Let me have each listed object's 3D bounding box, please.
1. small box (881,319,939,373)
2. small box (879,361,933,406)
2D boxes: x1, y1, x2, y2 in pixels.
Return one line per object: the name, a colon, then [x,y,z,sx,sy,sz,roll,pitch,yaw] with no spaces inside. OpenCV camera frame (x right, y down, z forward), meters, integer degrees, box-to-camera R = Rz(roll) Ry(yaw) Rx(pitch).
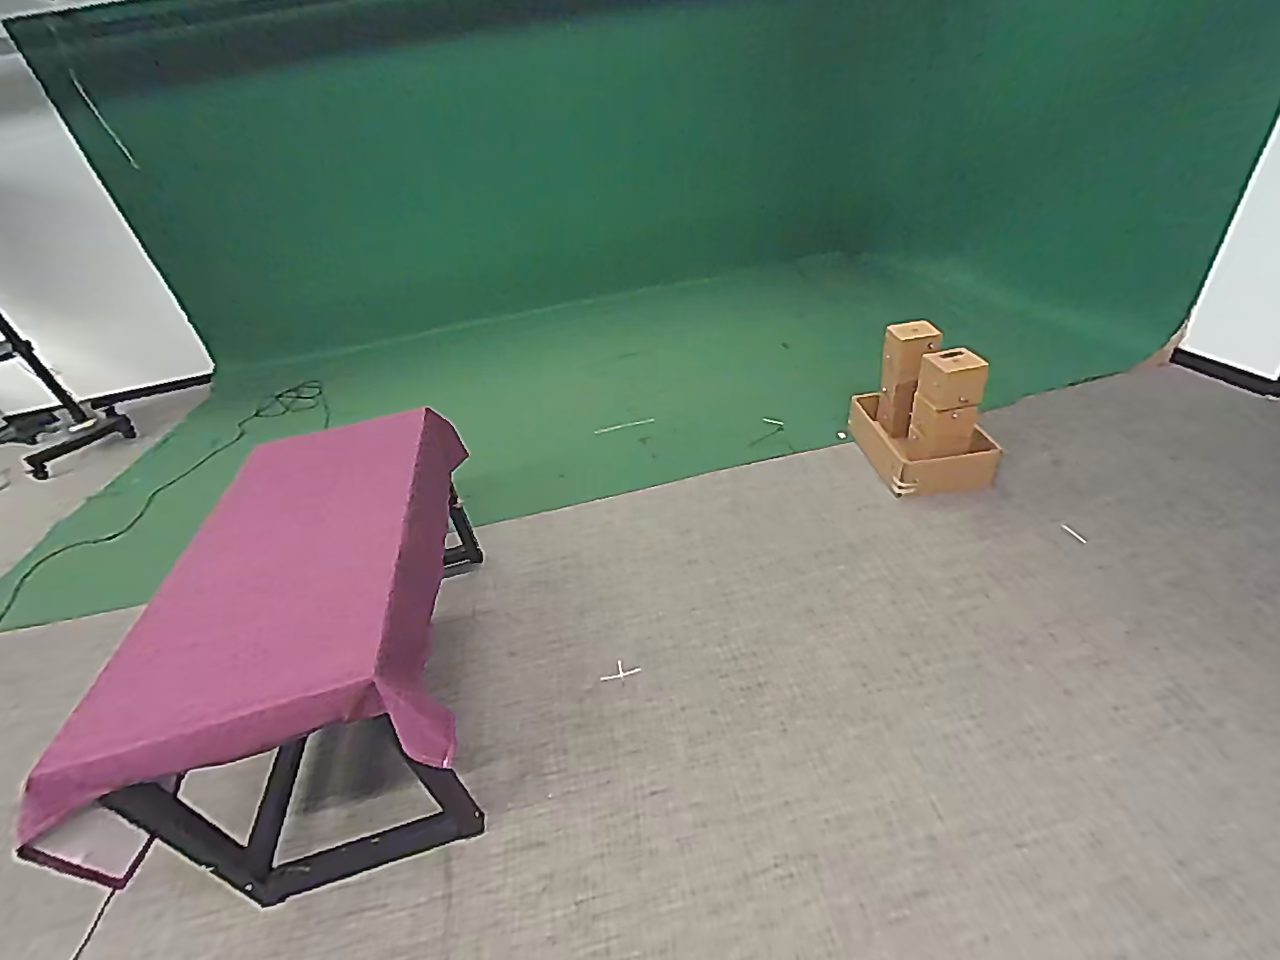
small box: [1.202,-0.597,2.420,0.179,0.176,0.168,-9,36,4]
small box: [1.231,-0.465,2.513,0.179,0.176,0.168,-8,36,6]
